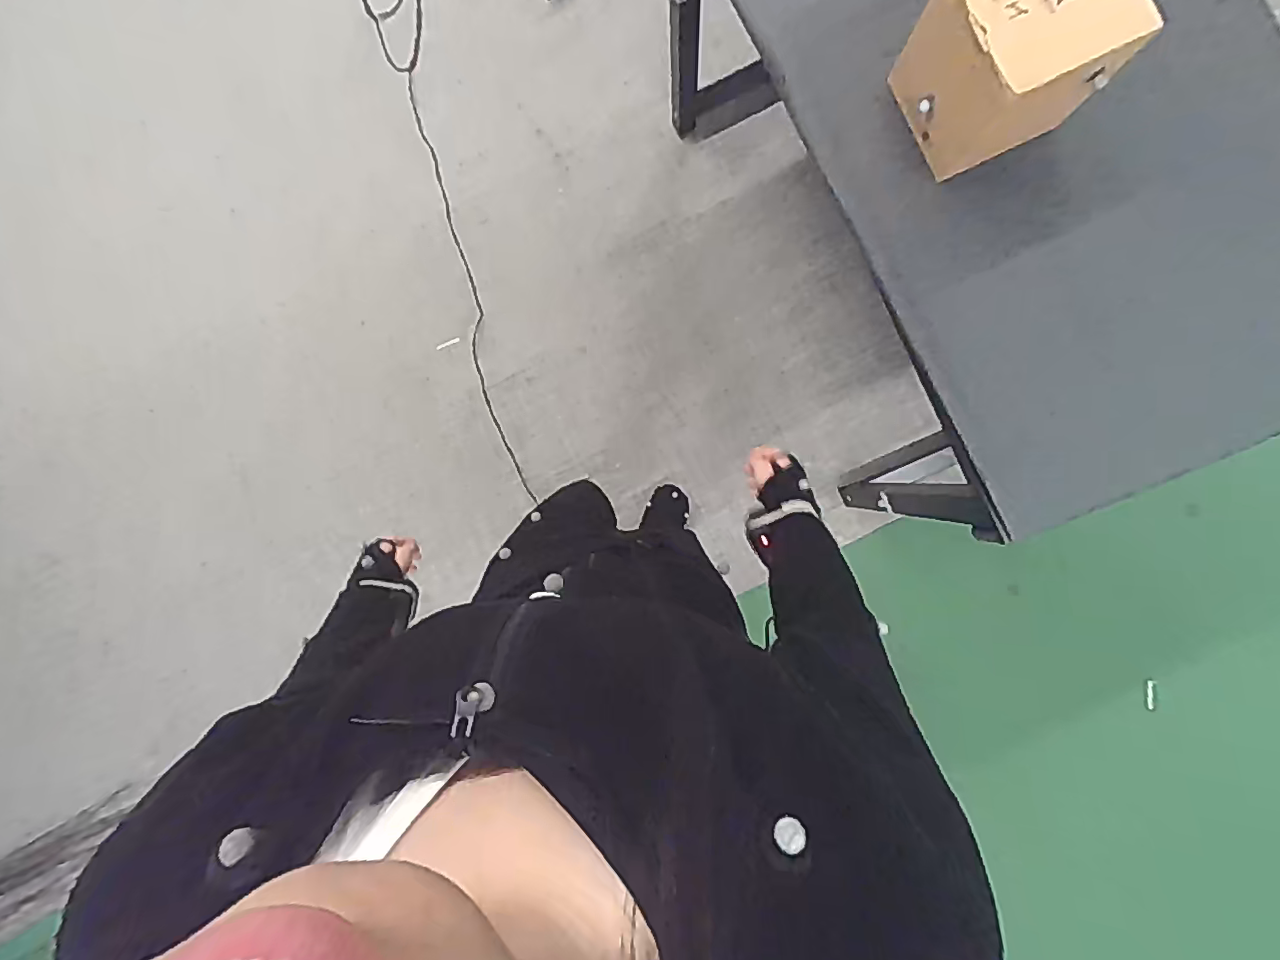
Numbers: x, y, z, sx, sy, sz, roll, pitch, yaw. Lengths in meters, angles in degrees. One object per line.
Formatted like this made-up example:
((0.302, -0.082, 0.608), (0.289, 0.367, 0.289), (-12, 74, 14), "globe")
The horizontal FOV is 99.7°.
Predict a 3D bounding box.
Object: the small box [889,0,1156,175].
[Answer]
((0.447, -0.523, 0.663), (0.179, 0.176, 0.168), (-25, 89, 2), "small box")
